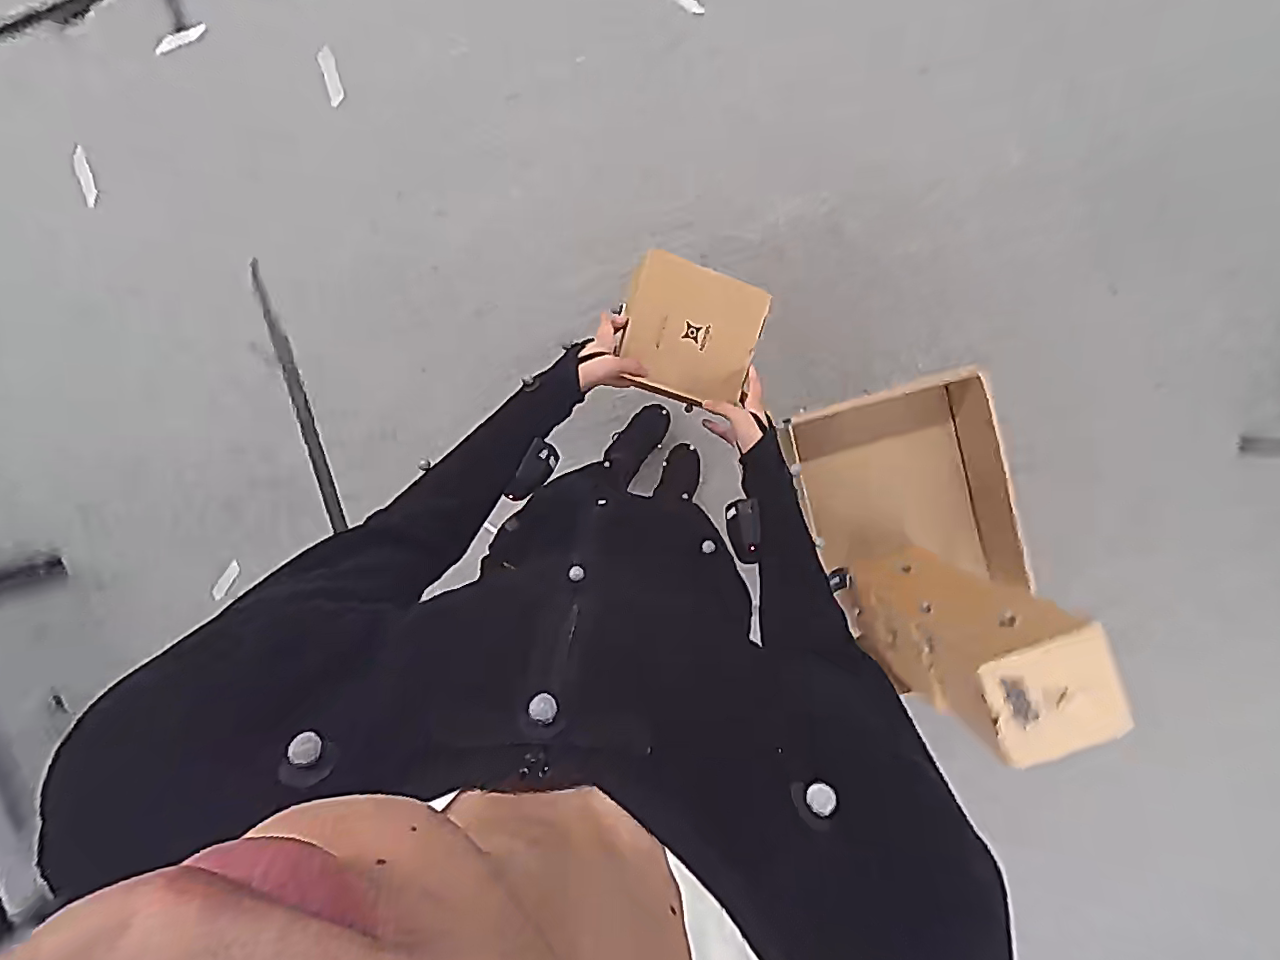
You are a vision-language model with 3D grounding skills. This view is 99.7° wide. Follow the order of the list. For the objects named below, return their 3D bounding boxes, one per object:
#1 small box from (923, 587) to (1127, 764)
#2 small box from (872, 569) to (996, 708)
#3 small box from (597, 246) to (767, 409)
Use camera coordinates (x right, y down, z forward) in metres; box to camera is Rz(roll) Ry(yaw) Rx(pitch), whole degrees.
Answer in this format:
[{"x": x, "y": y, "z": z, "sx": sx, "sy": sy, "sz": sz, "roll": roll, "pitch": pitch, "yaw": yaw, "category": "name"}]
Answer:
[{"x": 0.560, "y": 0.284, "z": 0.817, "sx": 0.179, "sy": 0.176, "sz": 0.168, "roll": -21, "pitch": 95, "yaw": 3, "category": "small box"}, {"x": 0.555, "y": 0.276, "z": 0.982, "sx": 0.179, "sy": 0.176, "sz": 0.168, "roll": -18, "pitch": 95, "yaw": 4, "category": "small box"}, {"x": 0.049, "y": -0.208, "z": 0.775, "sx": 0.179, "sy": 0.176, "sz": 0.168, "roll": 14, "pitch": 96, "yaw": -13, "category": "small box"}]
